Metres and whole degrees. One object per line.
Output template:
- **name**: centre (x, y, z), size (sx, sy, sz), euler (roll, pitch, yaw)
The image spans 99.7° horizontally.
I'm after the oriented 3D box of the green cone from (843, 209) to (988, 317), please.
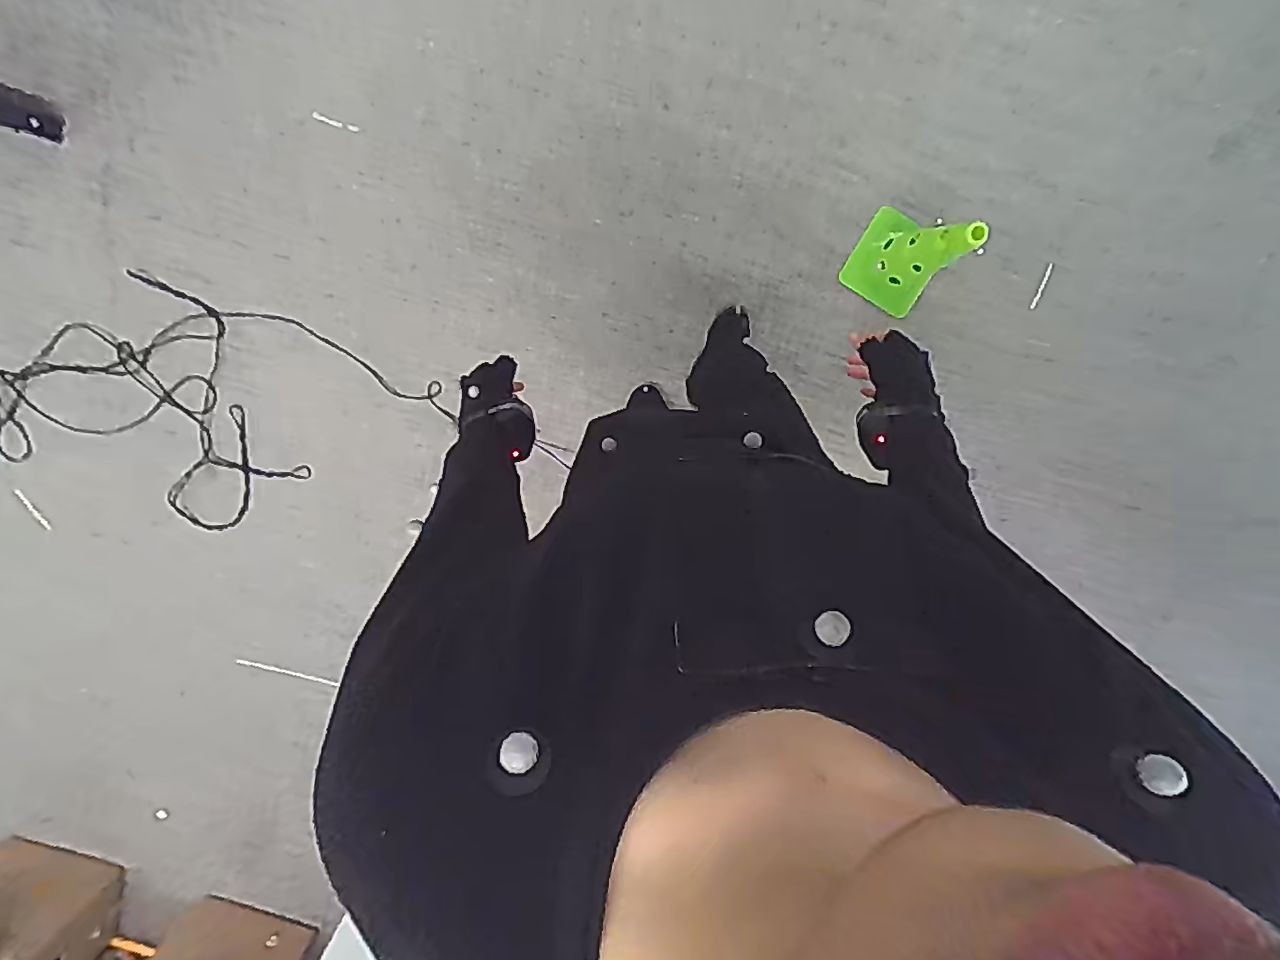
- **green cone**: centre (0.618, -0.489, 1.153), size (0.200, 0.368, 0.202), euler (28, 102, -4)
